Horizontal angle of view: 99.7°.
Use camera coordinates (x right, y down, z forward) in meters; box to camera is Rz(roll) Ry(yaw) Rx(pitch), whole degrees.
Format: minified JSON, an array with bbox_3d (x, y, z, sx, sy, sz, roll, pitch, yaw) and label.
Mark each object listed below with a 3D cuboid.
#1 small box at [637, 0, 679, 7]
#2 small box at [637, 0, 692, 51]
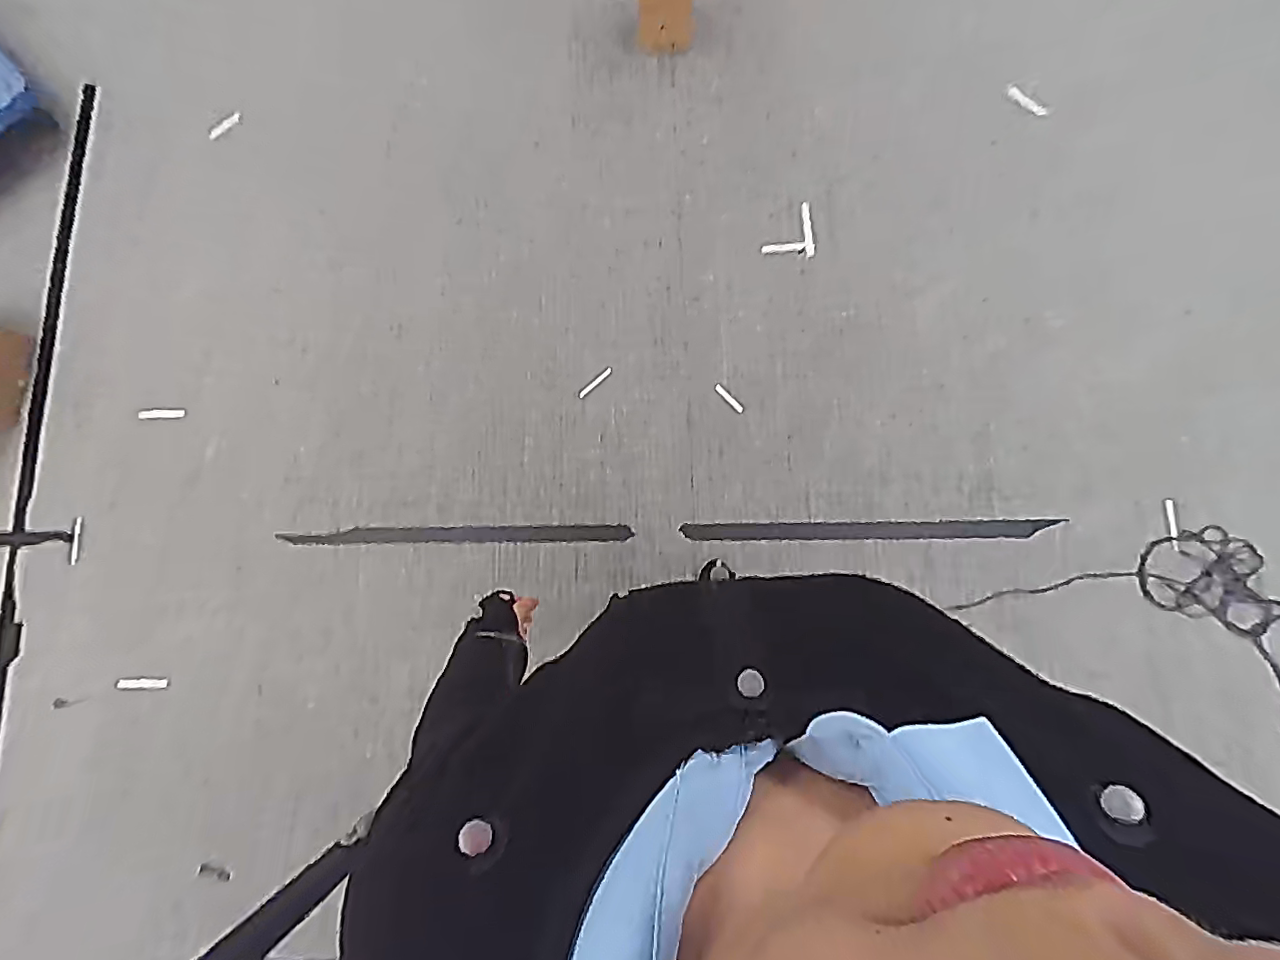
[{"bbox_3d":[0.066,-1.514,1.546,0.179,0.176,0.168,-8,81,4],"label":"small box"},{"bbox_3d":[0.082,-1.498,1.708,0.168,0.176,0.179,1,80,4],"label":"small box"}]
